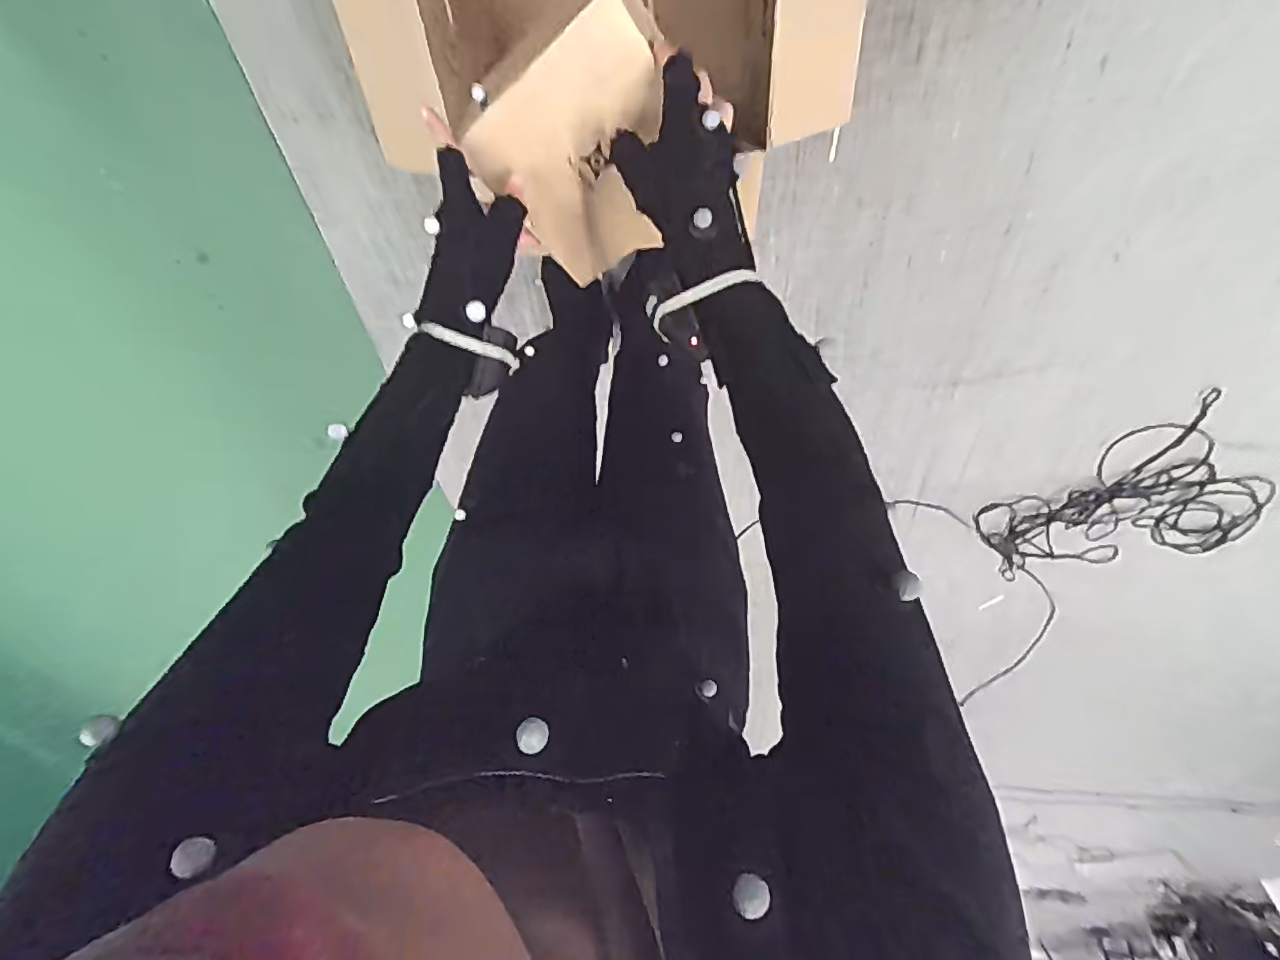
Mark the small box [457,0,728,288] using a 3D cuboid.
[{"bbox_3d":[-0.041,-0.330,0.510,0.179,0.176,0.168,-26,135,28],"label":"small box"}]
